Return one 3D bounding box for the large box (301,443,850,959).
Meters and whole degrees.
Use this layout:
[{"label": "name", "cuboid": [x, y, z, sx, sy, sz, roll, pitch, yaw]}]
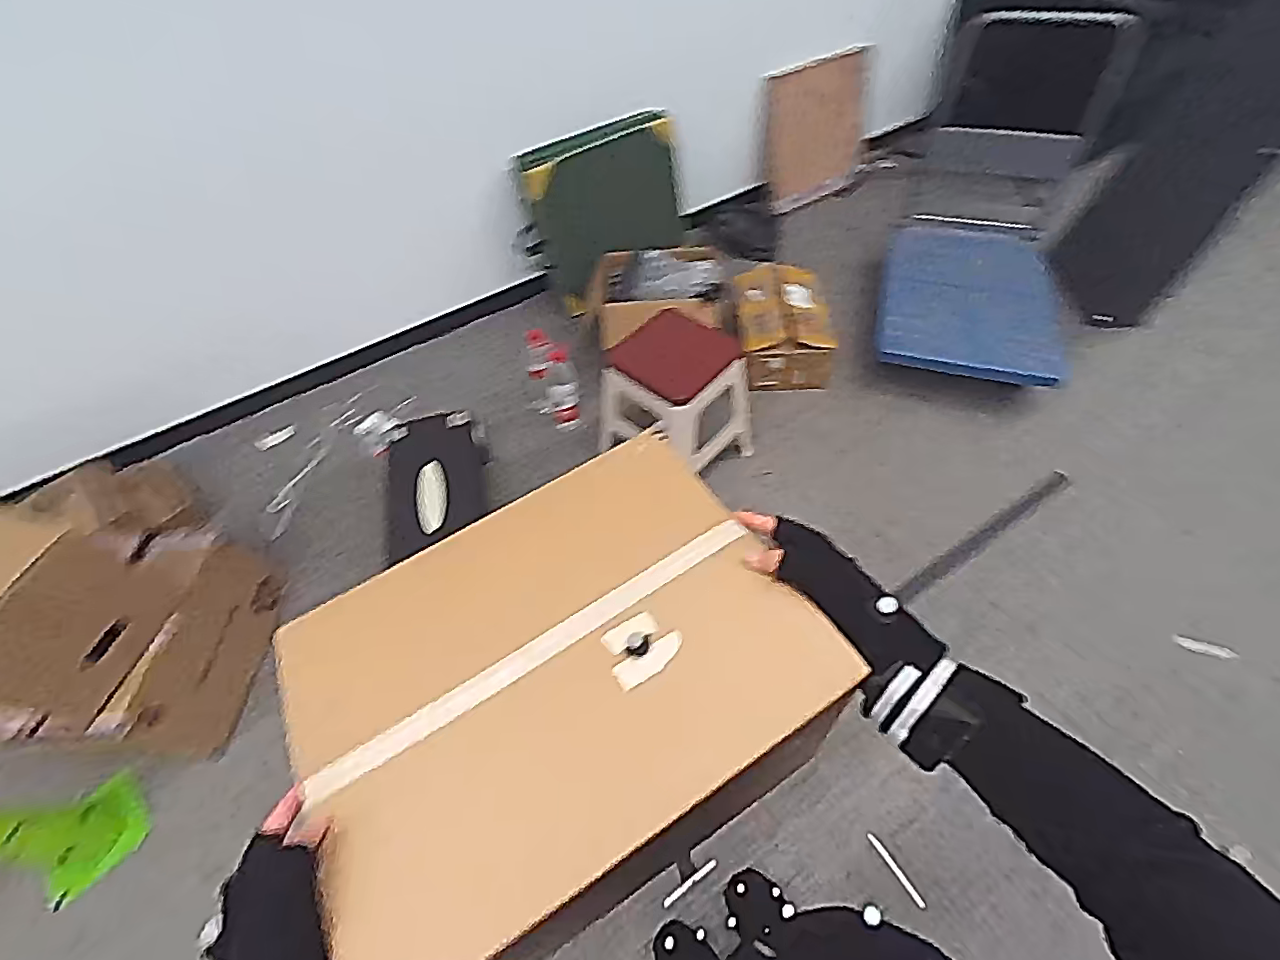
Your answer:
[{"label": "large box", "cuboid": [-0.056, 0.239, 0.579, 0.408, 0.320, 0.320, -29, 54, -14]}]
